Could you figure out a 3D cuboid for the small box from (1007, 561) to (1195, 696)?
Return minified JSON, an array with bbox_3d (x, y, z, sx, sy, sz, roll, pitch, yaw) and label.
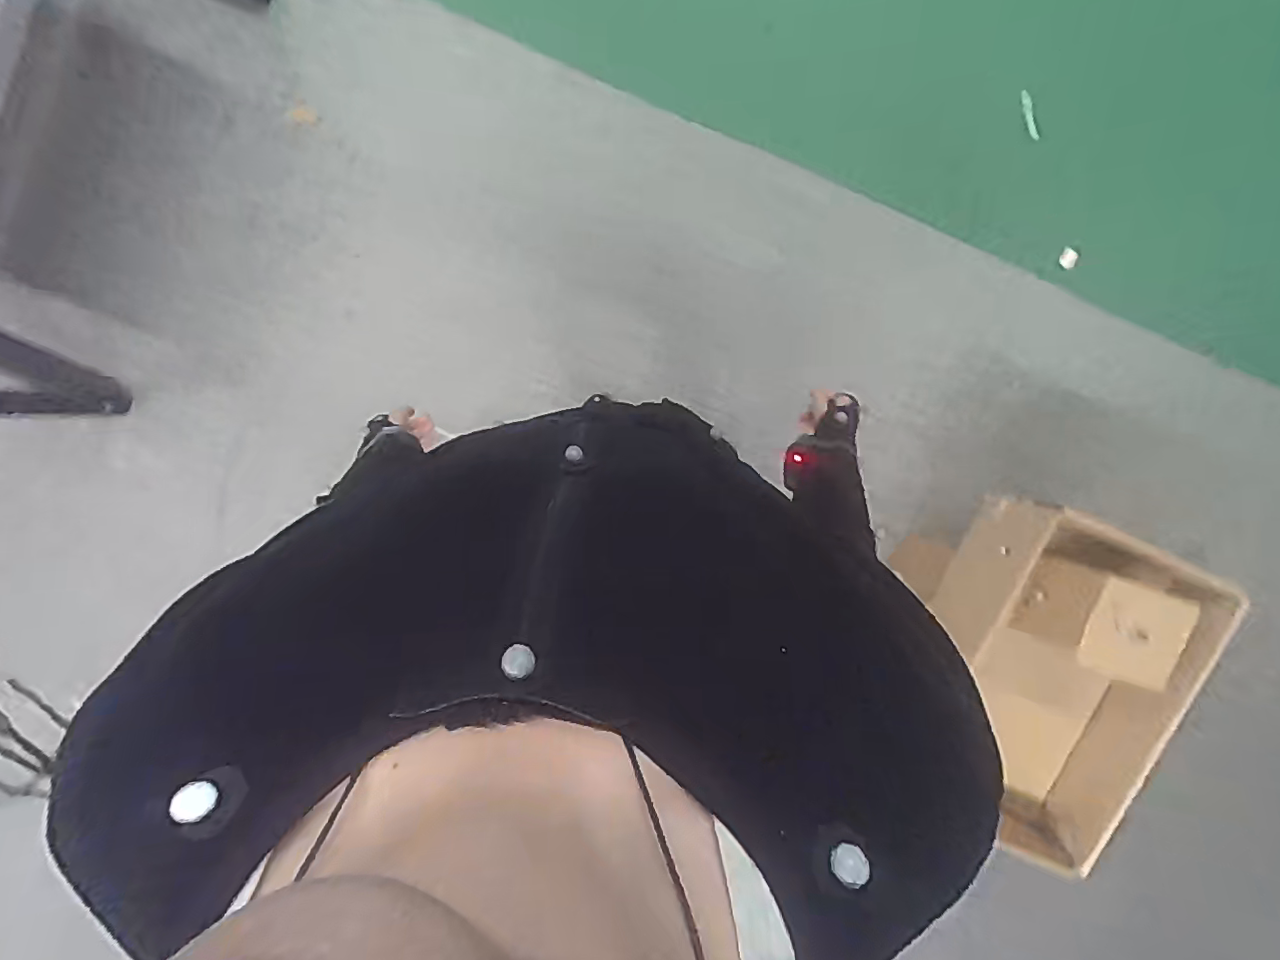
[{"bbox_3d":[0.849,0.268,1.014,0.179,0.176,0.168,20,95,-2],"label":"small box"}]
